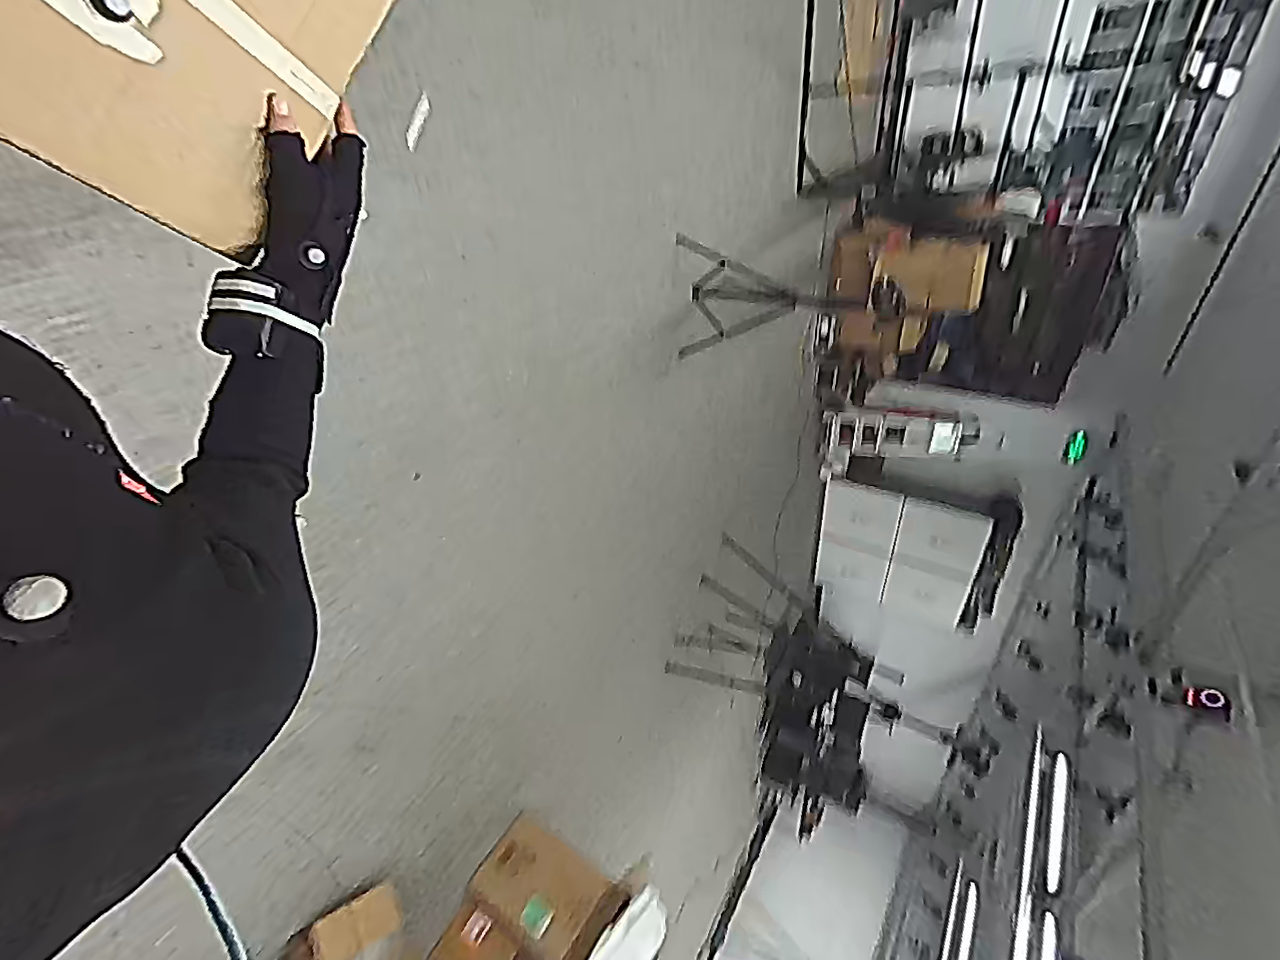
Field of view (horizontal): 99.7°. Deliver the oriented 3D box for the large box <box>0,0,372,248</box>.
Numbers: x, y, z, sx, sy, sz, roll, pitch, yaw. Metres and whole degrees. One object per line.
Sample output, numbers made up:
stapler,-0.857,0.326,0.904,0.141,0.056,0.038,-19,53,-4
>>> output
large box,-0.478,-0.437,0.373,0.320,0.320,0.408,-61,150,3
